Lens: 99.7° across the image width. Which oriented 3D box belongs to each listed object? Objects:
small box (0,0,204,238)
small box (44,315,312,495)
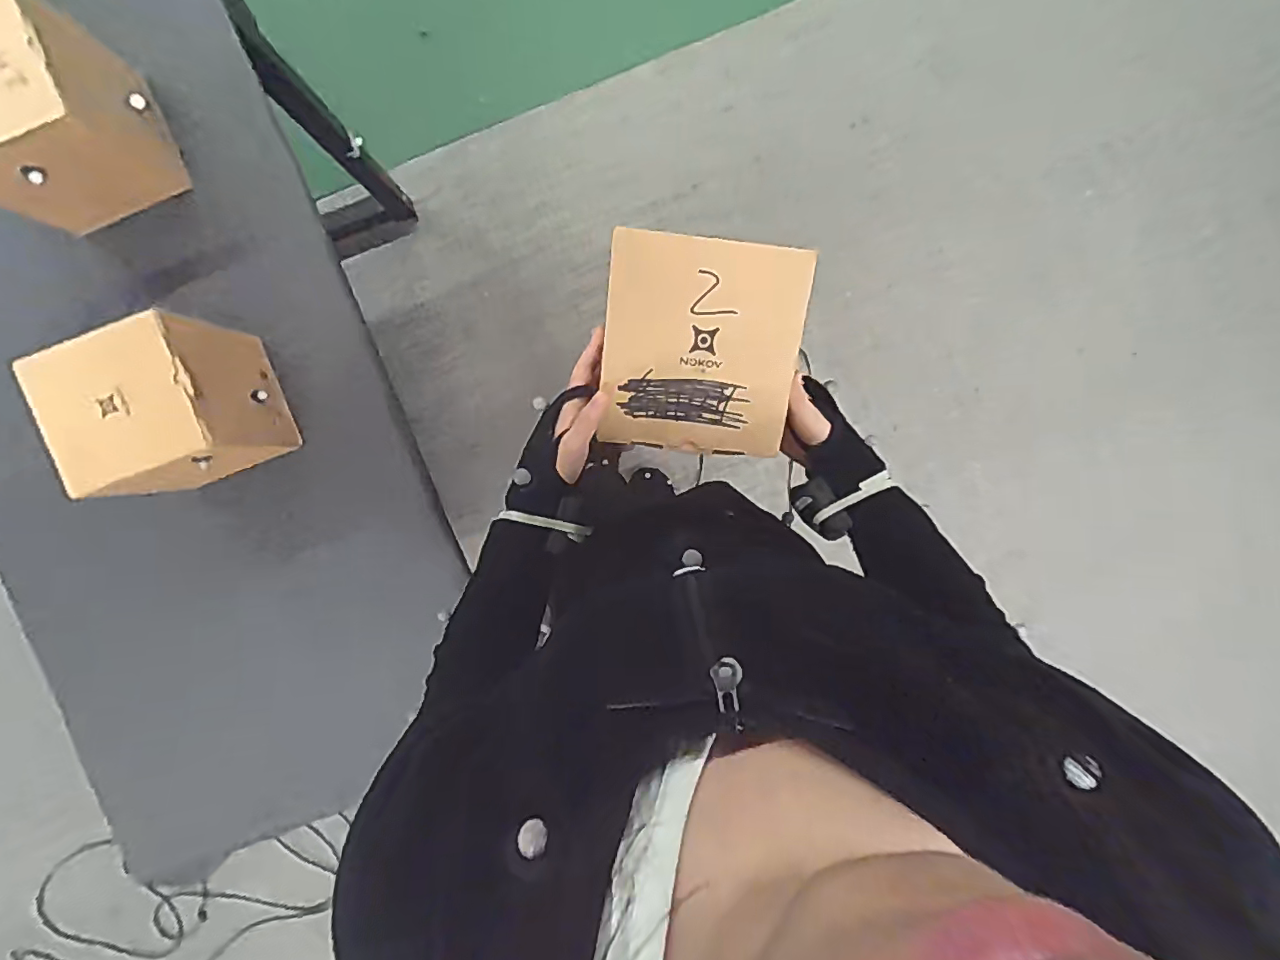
[{"bbox_3d":[-0.722,-0.439,0.685,0.179,0.176,0.168,-23,94,3],"label":"small box"},{"bbox_3d":[-0.582,-0.089,0.706,0.179,0.176,0.168,-21,92,2],"label":"small box"}]
